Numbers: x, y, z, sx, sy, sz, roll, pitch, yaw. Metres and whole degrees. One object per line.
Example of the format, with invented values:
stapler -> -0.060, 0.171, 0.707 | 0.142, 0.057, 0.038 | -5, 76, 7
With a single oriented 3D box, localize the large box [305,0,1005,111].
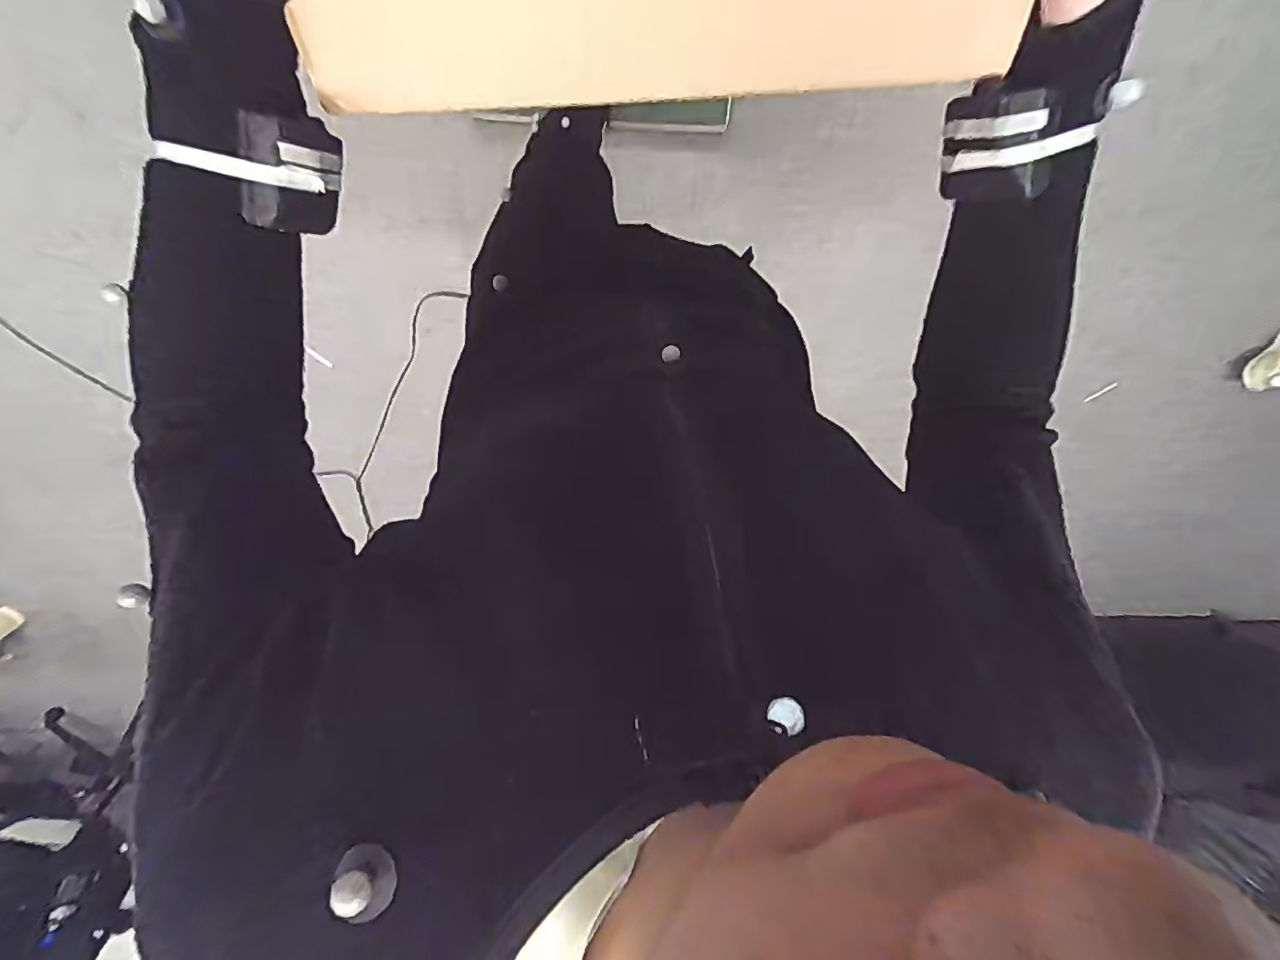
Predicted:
large box -> 0.000, -0.455, 0.341 | 0.408, 0.320, 0.320 | -3, 133, 1
